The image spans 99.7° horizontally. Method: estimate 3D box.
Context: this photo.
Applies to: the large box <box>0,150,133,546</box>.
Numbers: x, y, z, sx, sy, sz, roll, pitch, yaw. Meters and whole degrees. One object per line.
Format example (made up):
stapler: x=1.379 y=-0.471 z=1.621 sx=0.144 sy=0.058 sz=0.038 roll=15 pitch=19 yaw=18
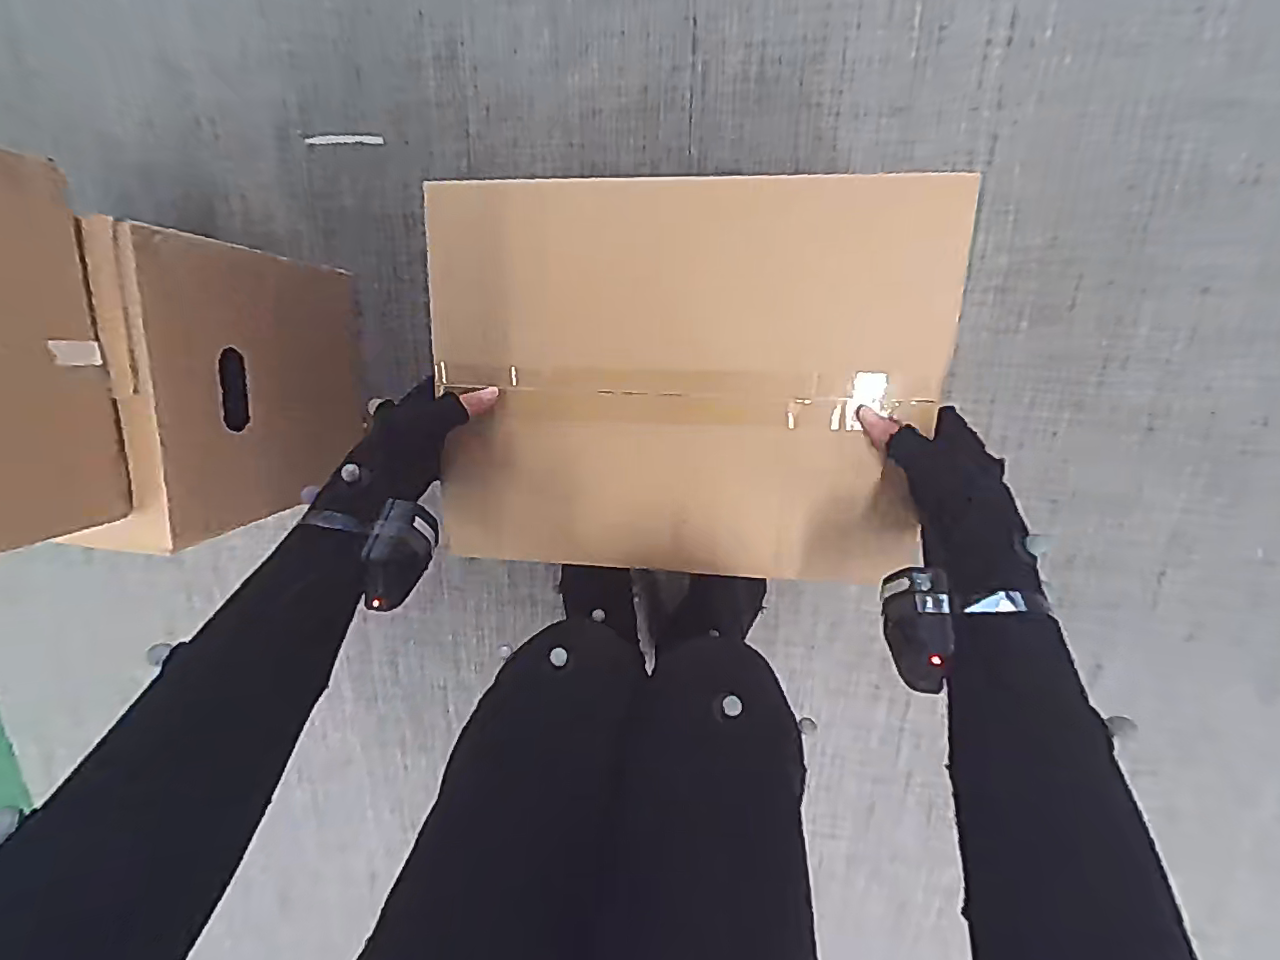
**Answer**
large box: x=-0.691 y=-0.097 z=0.366 sx=0.408 sy=0.320 sz=0.320 roll=4 pitch=102 yaw=6
